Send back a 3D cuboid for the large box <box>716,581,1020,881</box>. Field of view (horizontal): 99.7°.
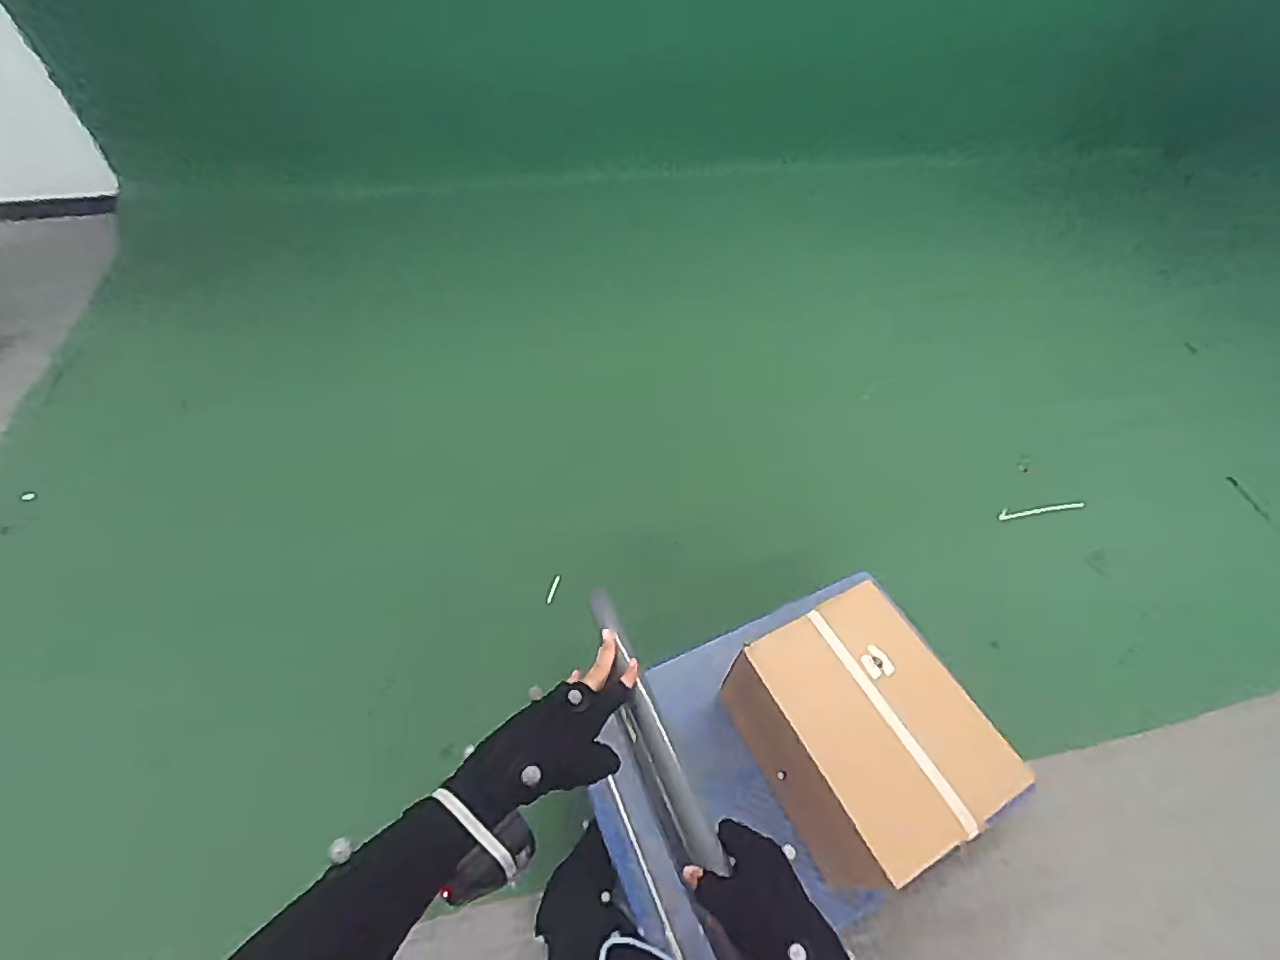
[{"bbox_3d":[0.401,0.487,1.066,0.320,0.320,0.408,-21,56,-19],"label":"large box"}]
